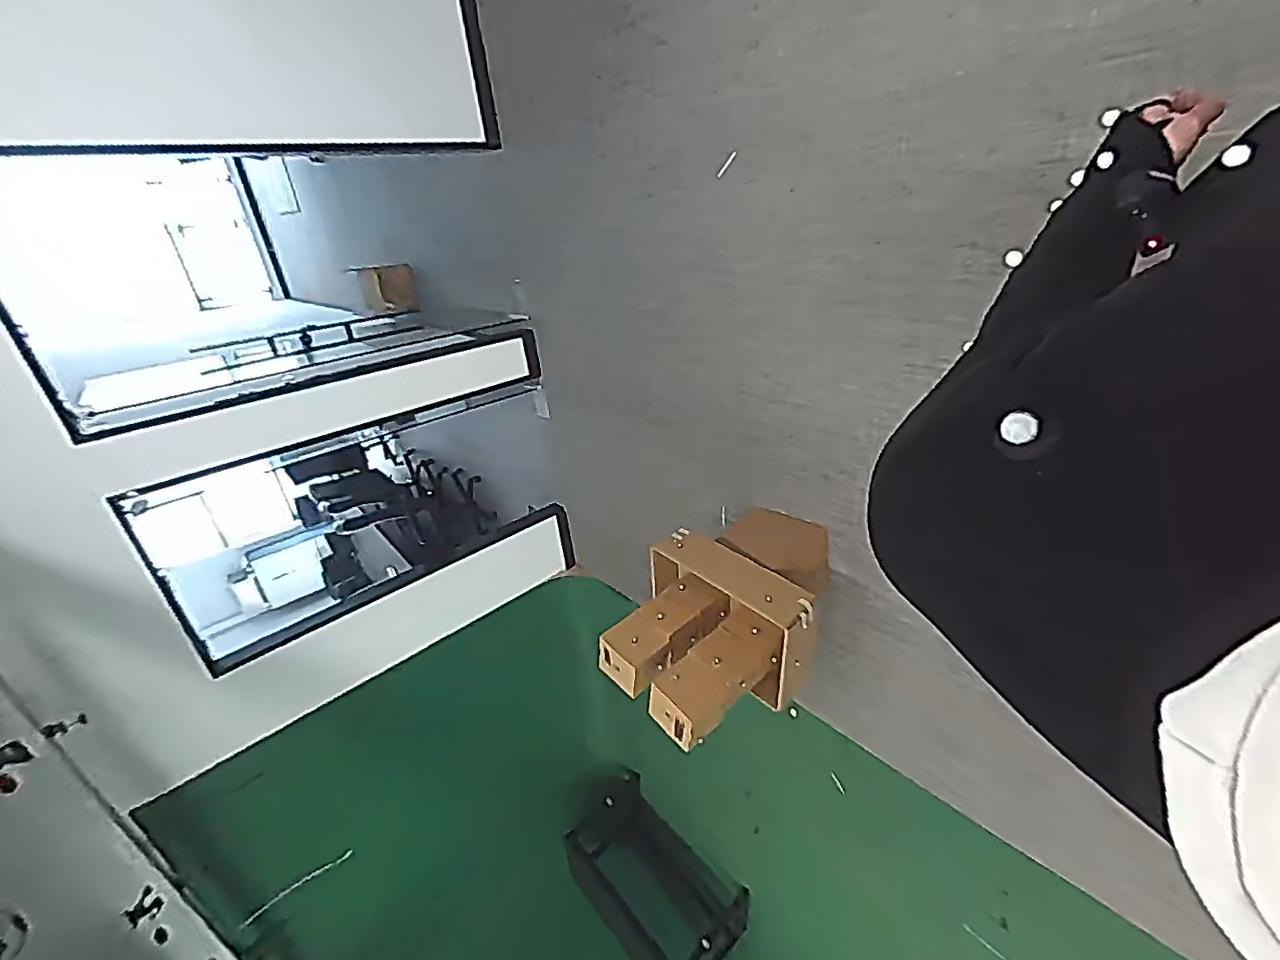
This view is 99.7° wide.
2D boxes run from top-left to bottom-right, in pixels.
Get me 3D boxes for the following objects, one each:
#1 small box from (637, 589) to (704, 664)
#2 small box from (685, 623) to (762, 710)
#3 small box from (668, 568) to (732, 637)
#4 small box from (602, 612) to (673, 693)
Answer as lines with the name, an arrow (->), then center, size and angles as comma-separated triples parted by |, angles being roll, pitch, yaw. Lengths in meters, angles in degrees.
small box -> 0.111, 0.517, 1.944 | 0.179, 0.176, 0.168 | 23, 128, 41
small box -> 0.276, 0.608, 1.782 | 0.179, 0.176, 0.168 | 36, 136, 35
small box -> 0.226, 0.456, 2.039 | 0.179, 0.176, 0.168 | 25, 130, 42
small box -> -0.010, 0.579, 1.853 | 0.179, 0.176, 0.168 | 31, 134, 34
